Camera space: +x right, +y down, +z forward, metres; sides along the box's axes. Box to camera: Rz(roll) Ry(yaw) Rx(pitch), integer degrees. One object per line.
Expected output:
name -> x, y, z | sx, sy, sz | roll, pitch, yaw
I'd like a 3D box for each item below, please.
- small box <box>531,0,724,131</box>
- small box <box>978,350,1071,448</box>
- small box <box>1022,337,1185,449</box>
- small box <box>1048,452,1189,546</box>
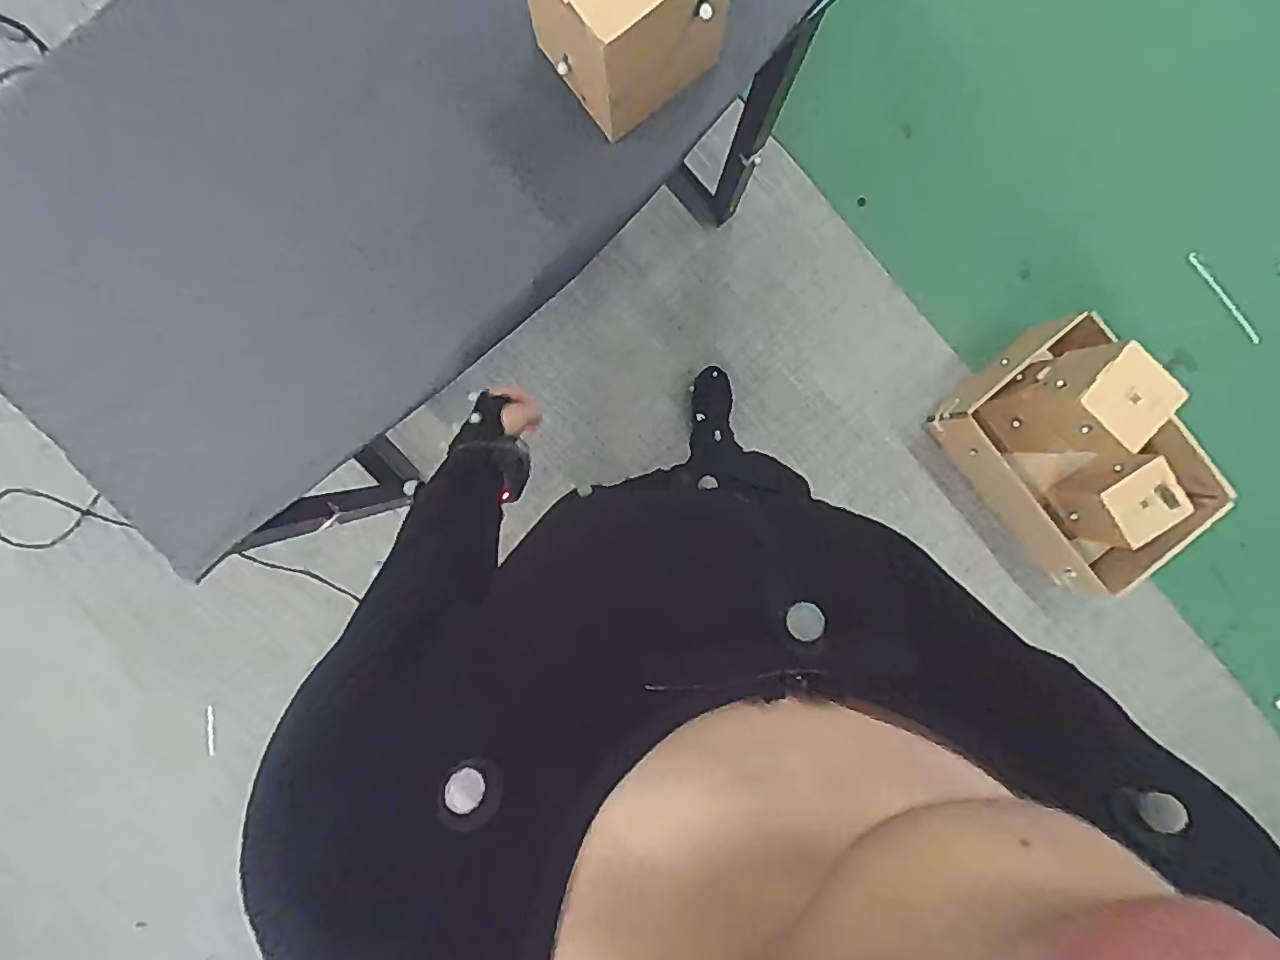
small box -> -0.018, -0.554, 0.611 | 0.179, 0.176, 0.168 | -37, 92, 2
small box -> 1.001, -0.193, 1.352 | 0.168, 0.176, 0.179 | -39, 94, 2
small box -> 1.003, -0.184, 1.188 | 0.179, 0.176, 0.168 | 40, 94, -6
small box -> 1.206, 0.040, 1.375 | 0.179, 0.176, 0.168 | -34, 94, 2
